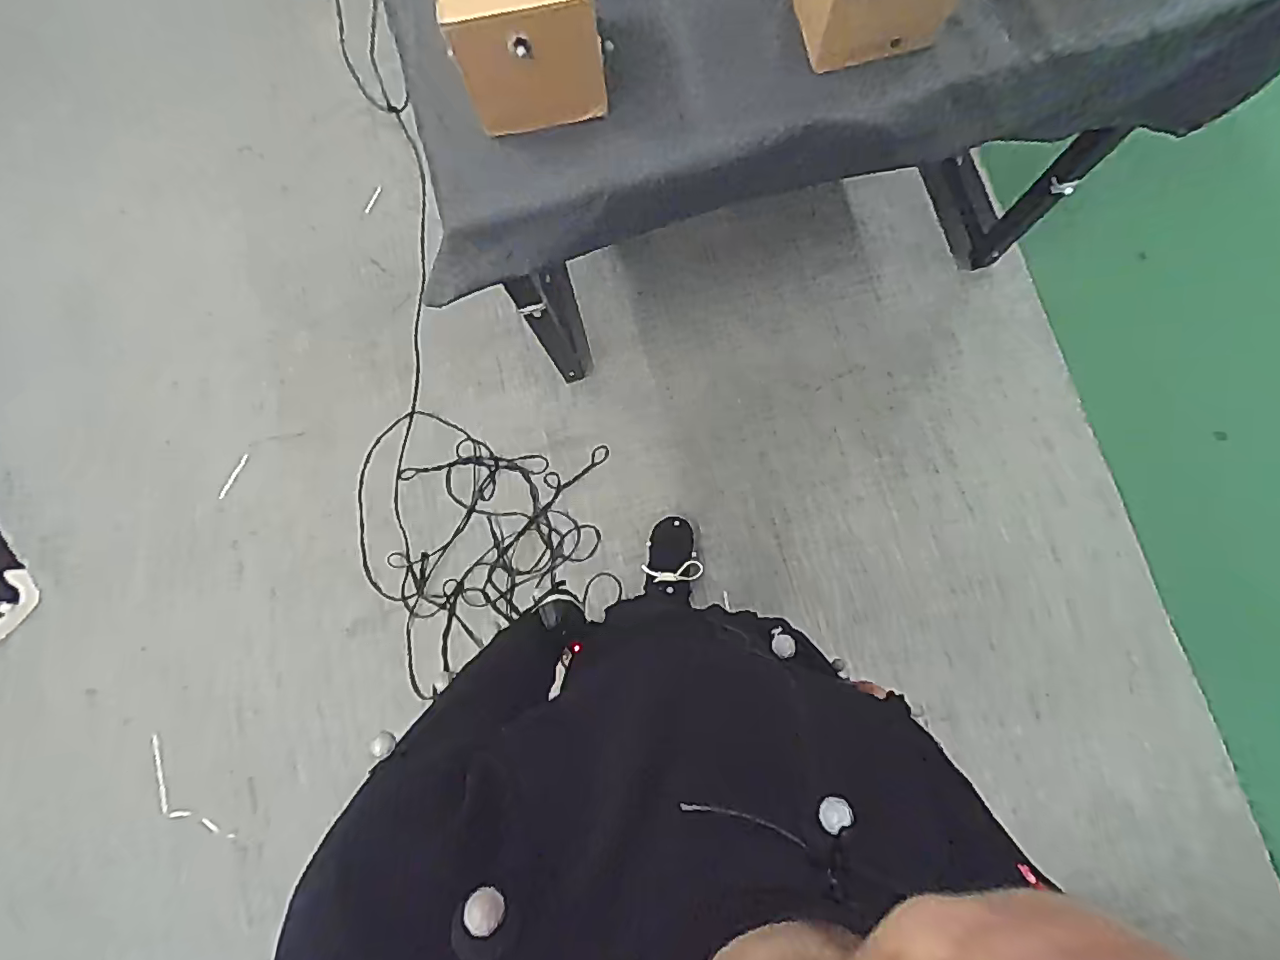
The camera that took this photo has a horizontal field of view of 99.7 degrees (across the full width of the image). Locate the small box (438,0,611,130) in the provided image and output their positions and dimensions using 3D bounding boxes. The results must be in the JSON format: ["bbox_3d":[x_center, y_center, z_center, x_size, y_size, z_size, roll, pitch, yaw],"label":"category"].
[{"bbox_3d":[-0.140,-0.580,0.682,0.179,0.176,0.168,-9,82,2],"label":"small box"}]
